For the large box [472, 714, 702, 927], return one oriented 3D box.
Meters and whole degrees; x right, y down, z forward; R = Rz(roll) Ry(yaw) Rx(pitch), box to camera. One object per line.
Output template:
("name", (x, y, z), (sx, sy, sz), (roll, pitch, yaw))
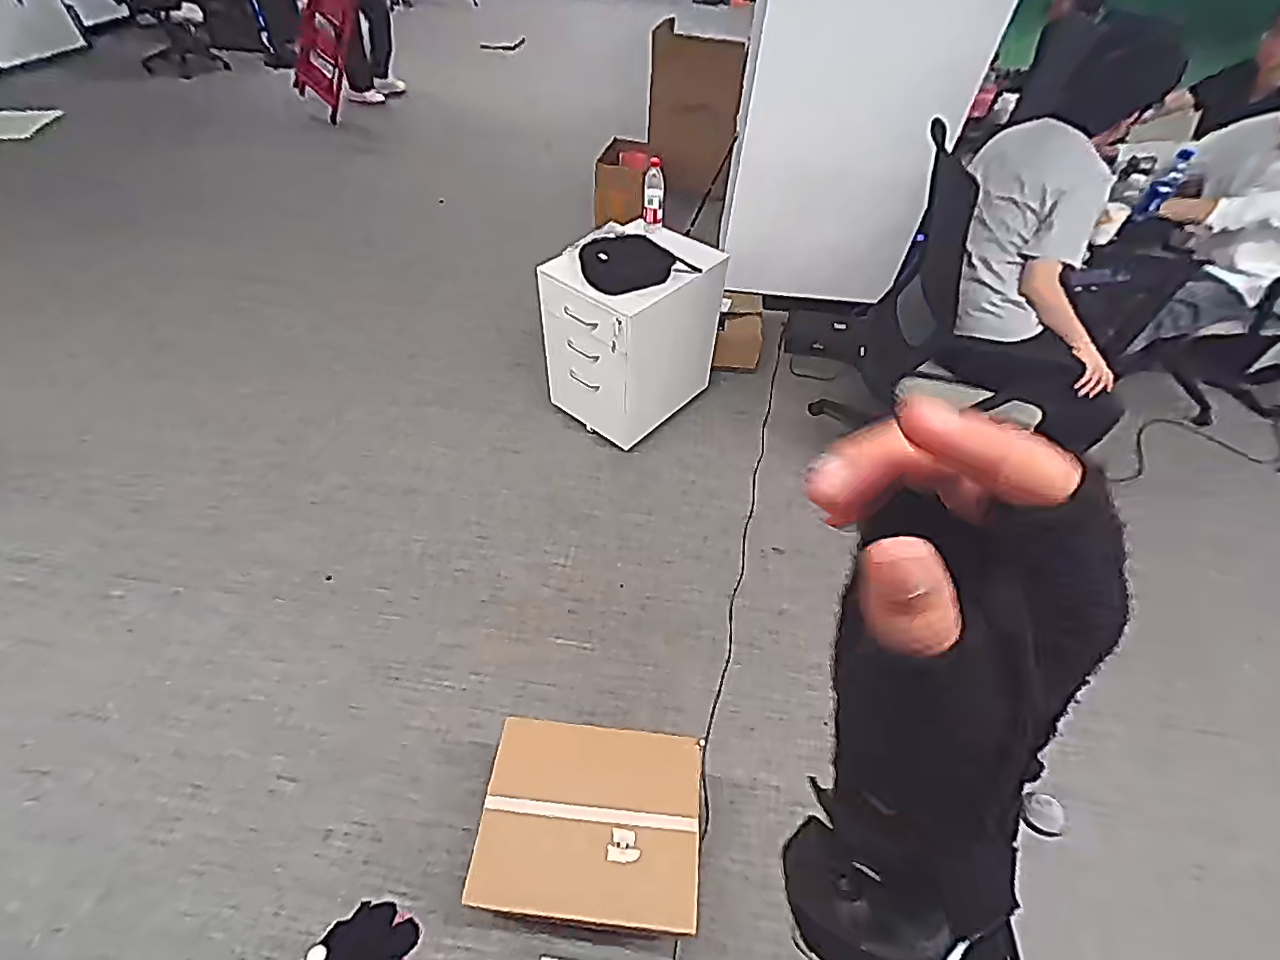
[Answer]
("large box", (-0.092, 0.719, 1.138), (0.408, 0.320, 0.320), (7, 50, 2))
